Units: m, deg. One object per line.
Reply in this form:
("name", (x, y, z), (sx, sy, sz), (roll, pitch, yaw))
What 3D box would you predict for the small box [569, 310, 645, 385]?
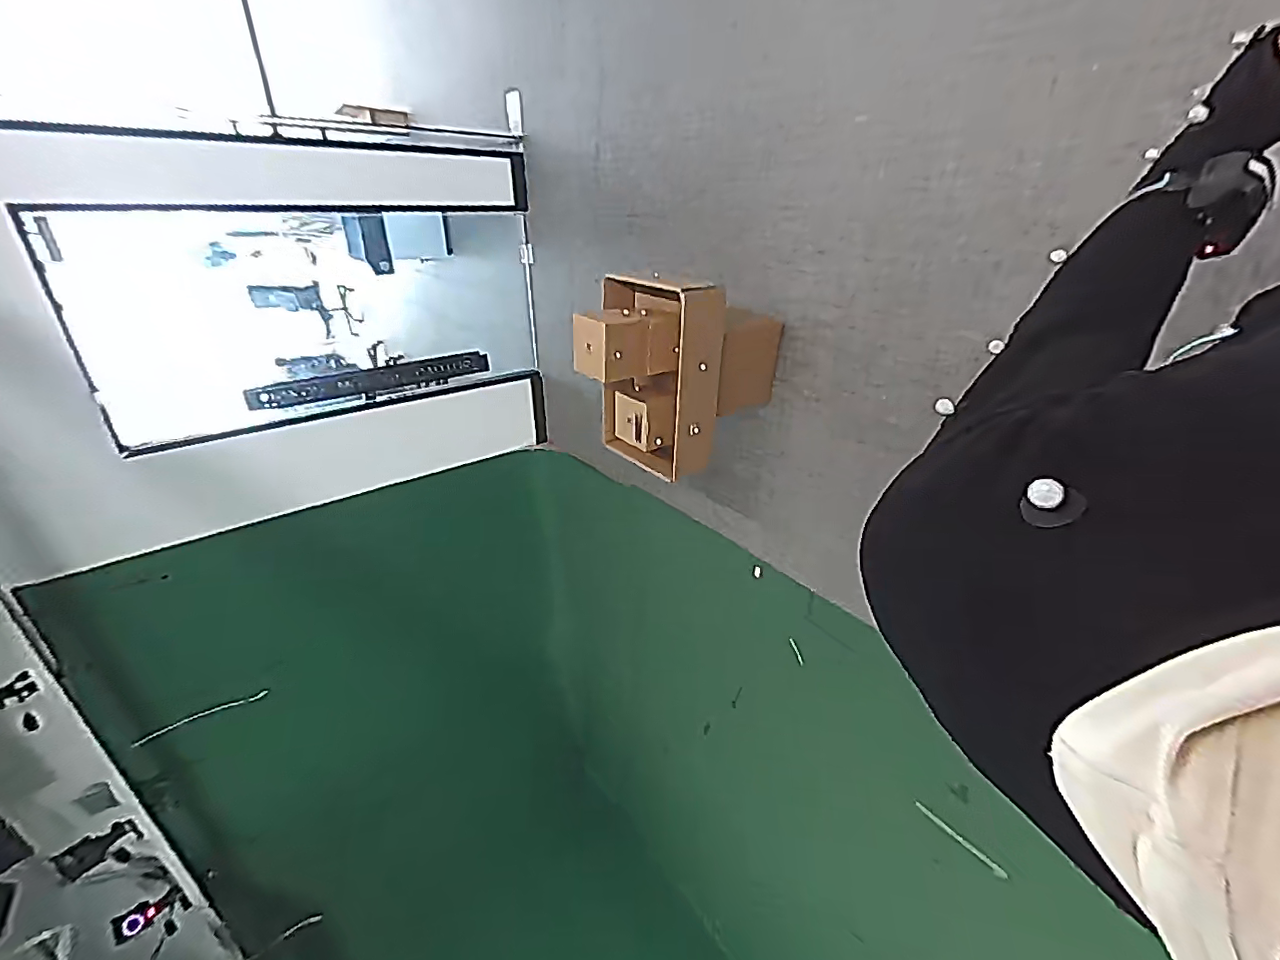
("small box", (-0.099, -0.405, 1.636), (0.168, 0.176, 0.179), (31, 129, 41))
